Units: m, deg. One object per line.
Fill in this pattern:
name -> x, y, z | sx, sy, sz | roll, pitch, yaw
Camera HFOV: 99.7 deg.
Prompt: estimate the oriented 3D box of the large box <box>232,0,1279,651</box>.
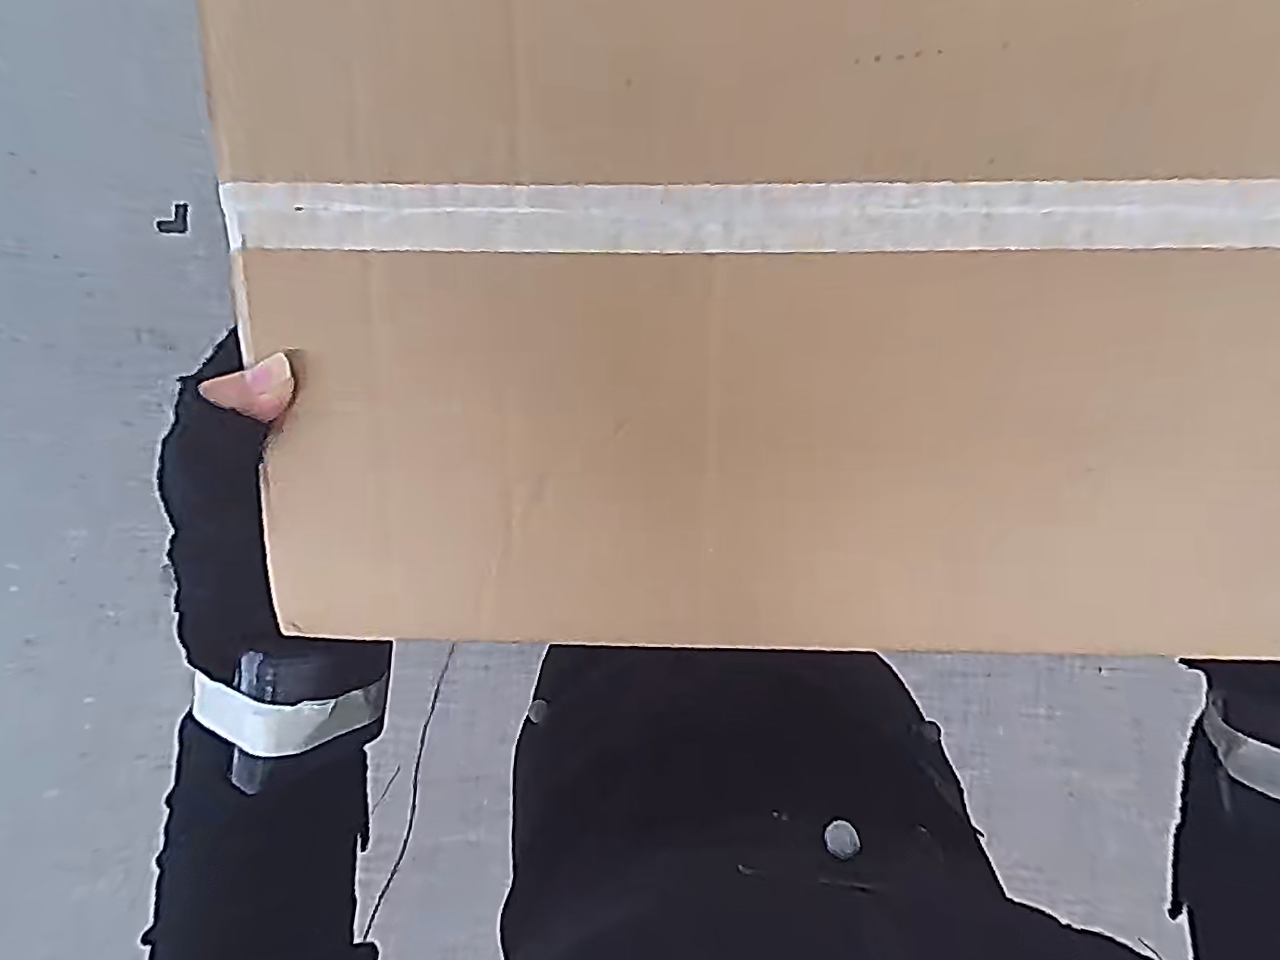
large box -> 0.065, -0.109, 0.340 | 0.408, 0.320, 0.320 | 0, 100, 1
